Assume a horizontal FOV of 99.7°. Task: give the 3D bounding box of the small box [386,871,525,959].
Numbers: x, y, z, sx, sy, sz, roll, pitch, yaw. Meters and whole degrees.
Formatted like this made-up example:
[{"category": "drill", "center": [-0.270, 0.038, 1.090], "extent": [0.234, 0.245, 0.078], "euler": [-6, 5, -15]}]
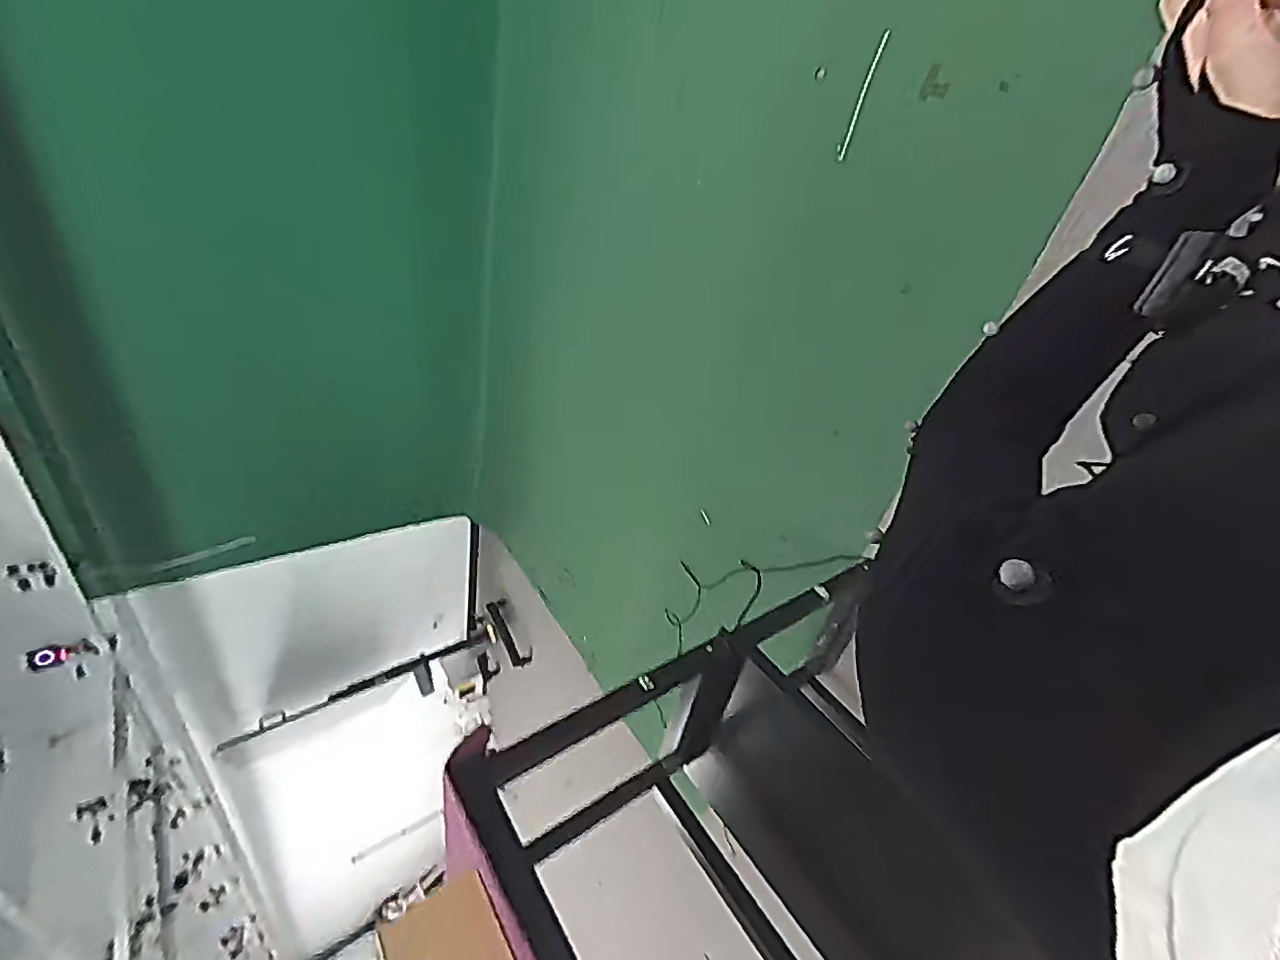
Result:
[{"category": "small box", "center": [-0.297, 0.805, 0.890], "extent": [0.179, 0.176, 0.168], "euler": [42, 133, 37]}]
